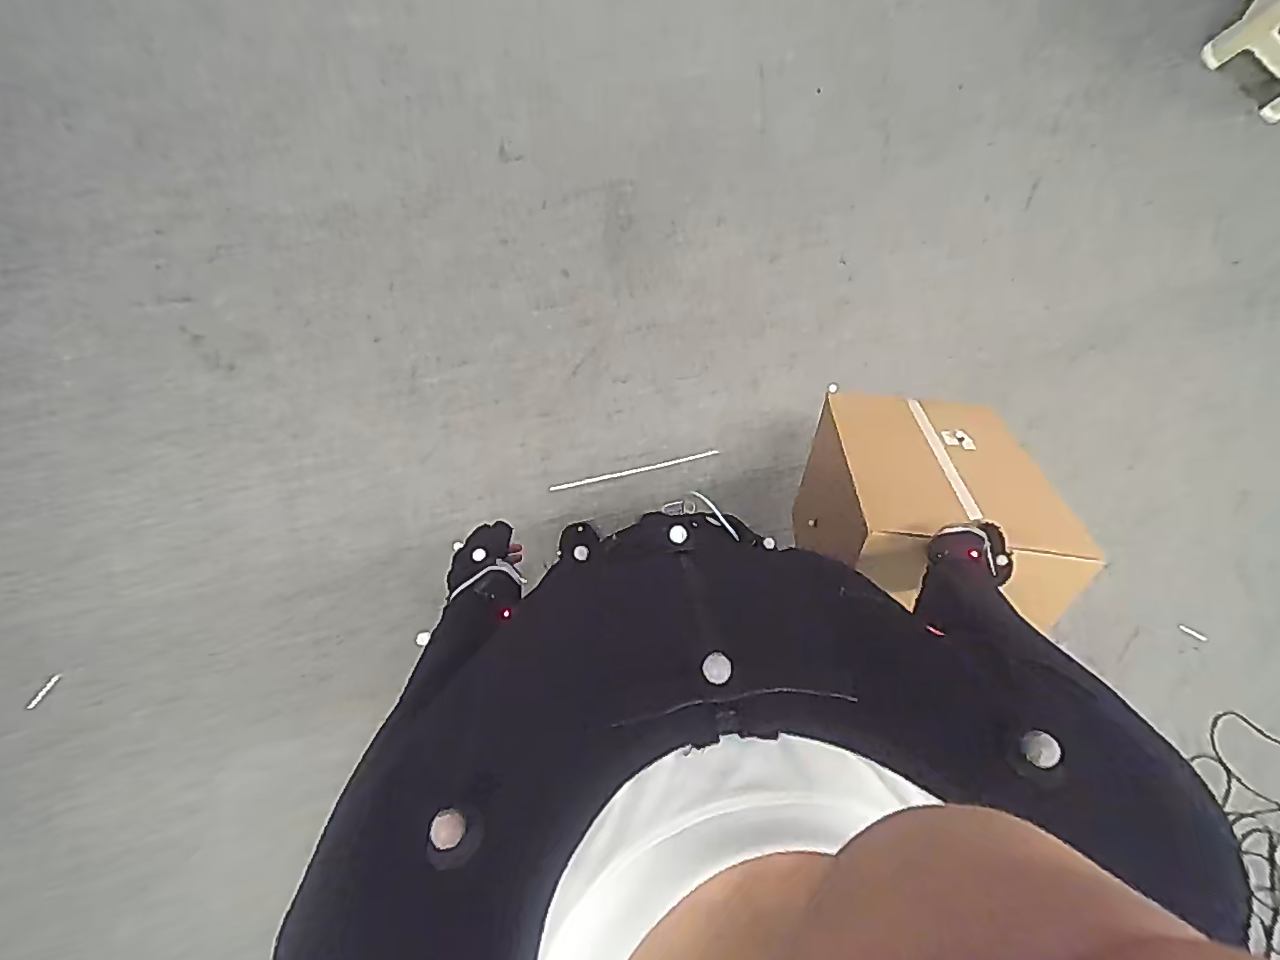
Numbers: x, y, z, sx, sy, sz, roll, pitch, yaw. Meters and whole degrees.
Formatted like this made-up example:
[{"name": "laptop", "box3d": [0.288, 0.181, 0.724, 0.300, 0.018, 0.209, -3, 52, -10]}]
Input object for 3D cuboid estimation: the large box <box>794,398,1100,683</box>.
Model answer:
[{"name": "large box", "box3d": [0.479, 0.093, 0.971, 0.320, 0.408, 0.320, 8, 127, 4]}]
